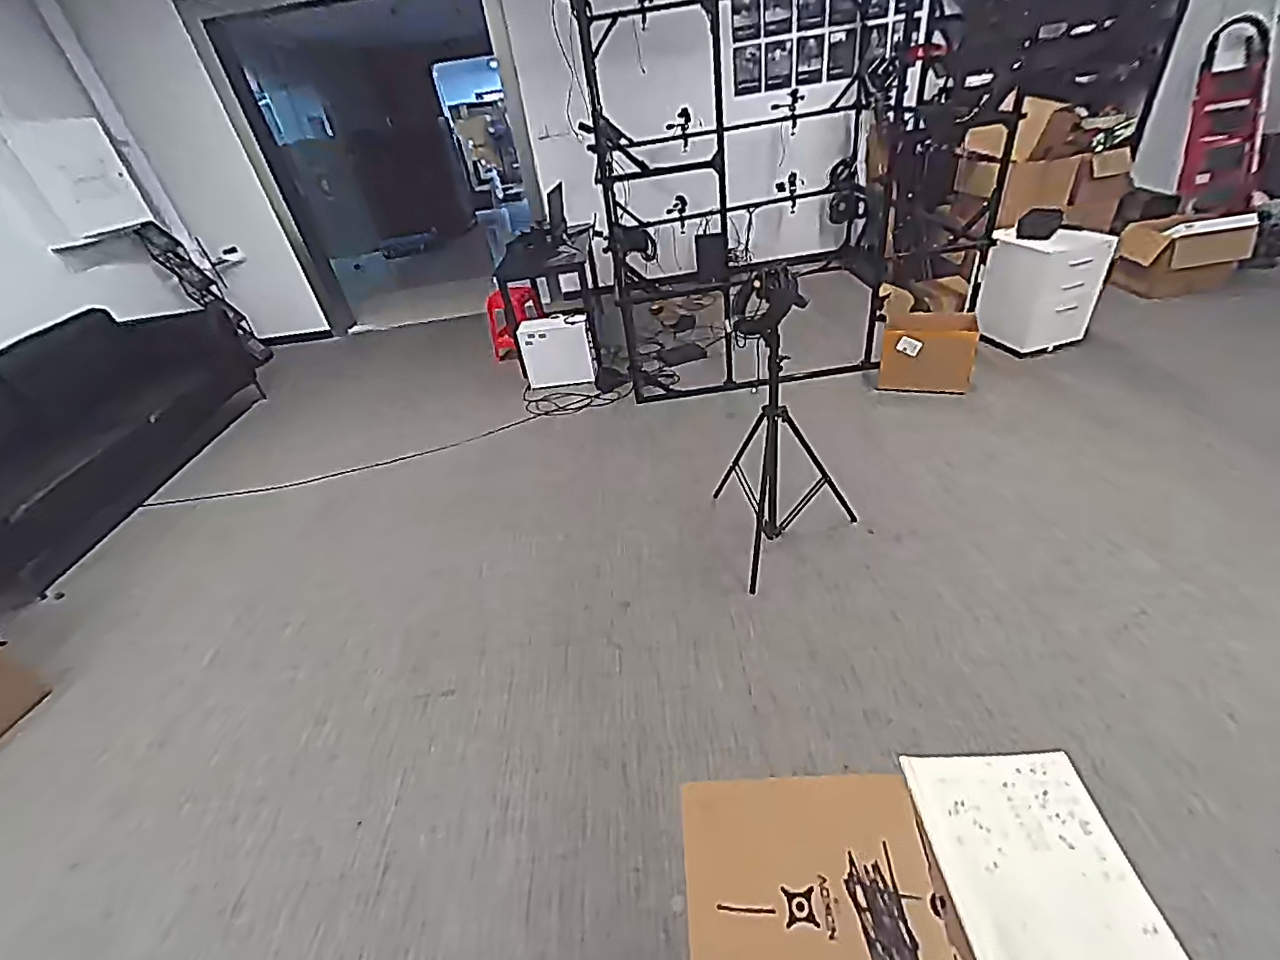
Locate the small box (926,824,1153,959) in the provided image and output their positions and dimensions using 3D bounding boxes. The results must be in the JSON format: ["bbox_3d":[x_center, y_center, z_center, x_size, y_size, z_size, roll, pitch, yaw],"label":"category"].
[{"bbox_3d":[0.431,0.525,0.612,0.168,0.176,0.179,-5,36,1],"label":"small box"}]

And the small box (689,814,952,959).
[{"bbox_3d":[0.133,0.374,0.434,0.179,0.176,0.168,-5,51,5],"label":"small box"}]
